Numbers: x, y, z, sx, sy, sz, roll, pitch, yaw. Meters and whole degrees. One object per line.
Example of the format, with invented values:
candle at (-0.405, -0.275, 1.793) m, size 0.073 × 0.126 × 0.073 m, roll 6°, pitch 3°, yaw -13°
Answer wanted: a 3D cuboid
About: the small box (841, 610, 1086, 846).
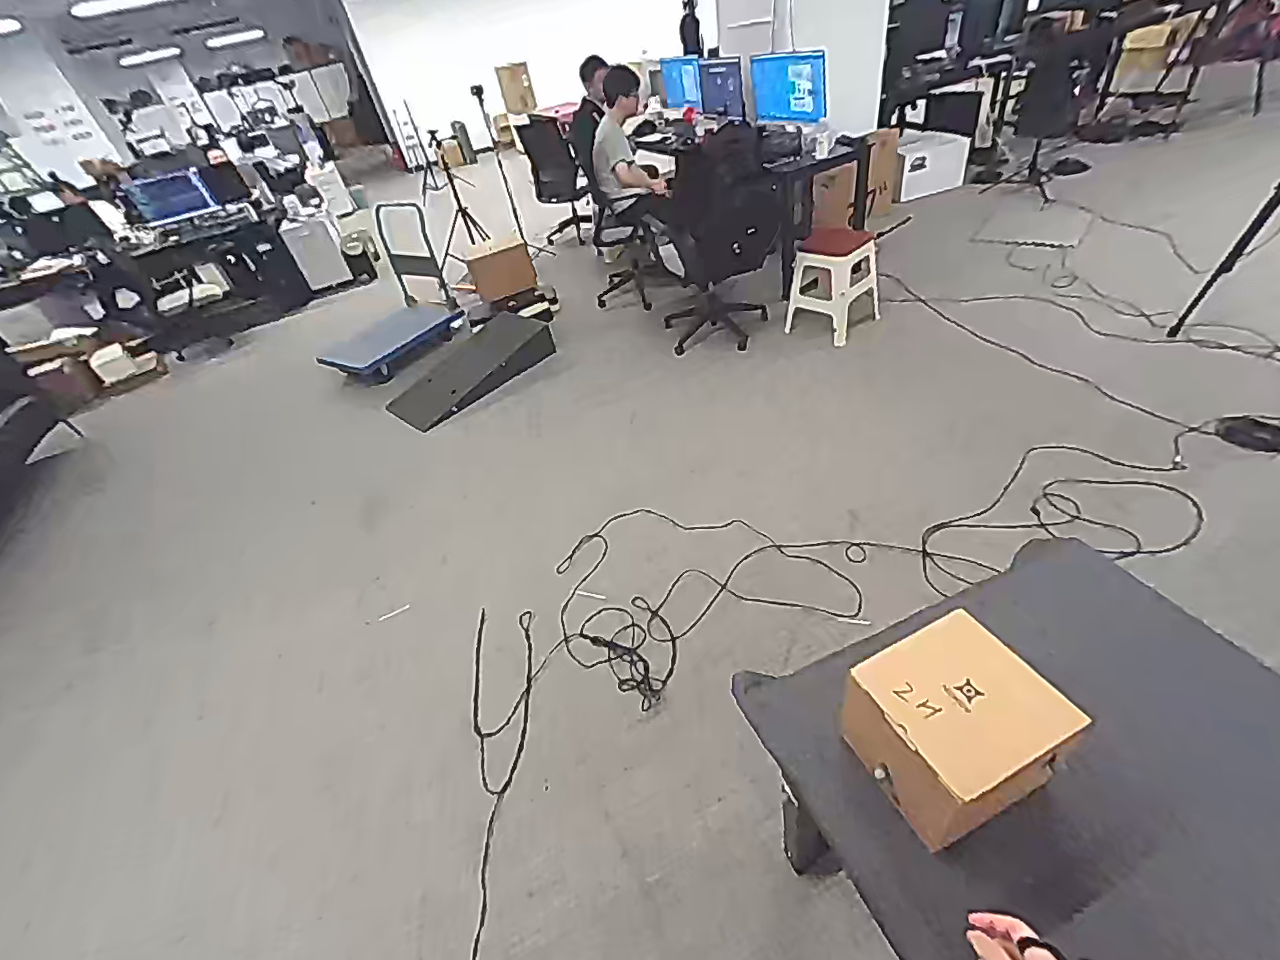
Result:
small box at (0.367, 0.297, 0.652) m, size 0.179 × 0.176 × 0.168 m, roll -22°, pitch 41°, yaw -12°
